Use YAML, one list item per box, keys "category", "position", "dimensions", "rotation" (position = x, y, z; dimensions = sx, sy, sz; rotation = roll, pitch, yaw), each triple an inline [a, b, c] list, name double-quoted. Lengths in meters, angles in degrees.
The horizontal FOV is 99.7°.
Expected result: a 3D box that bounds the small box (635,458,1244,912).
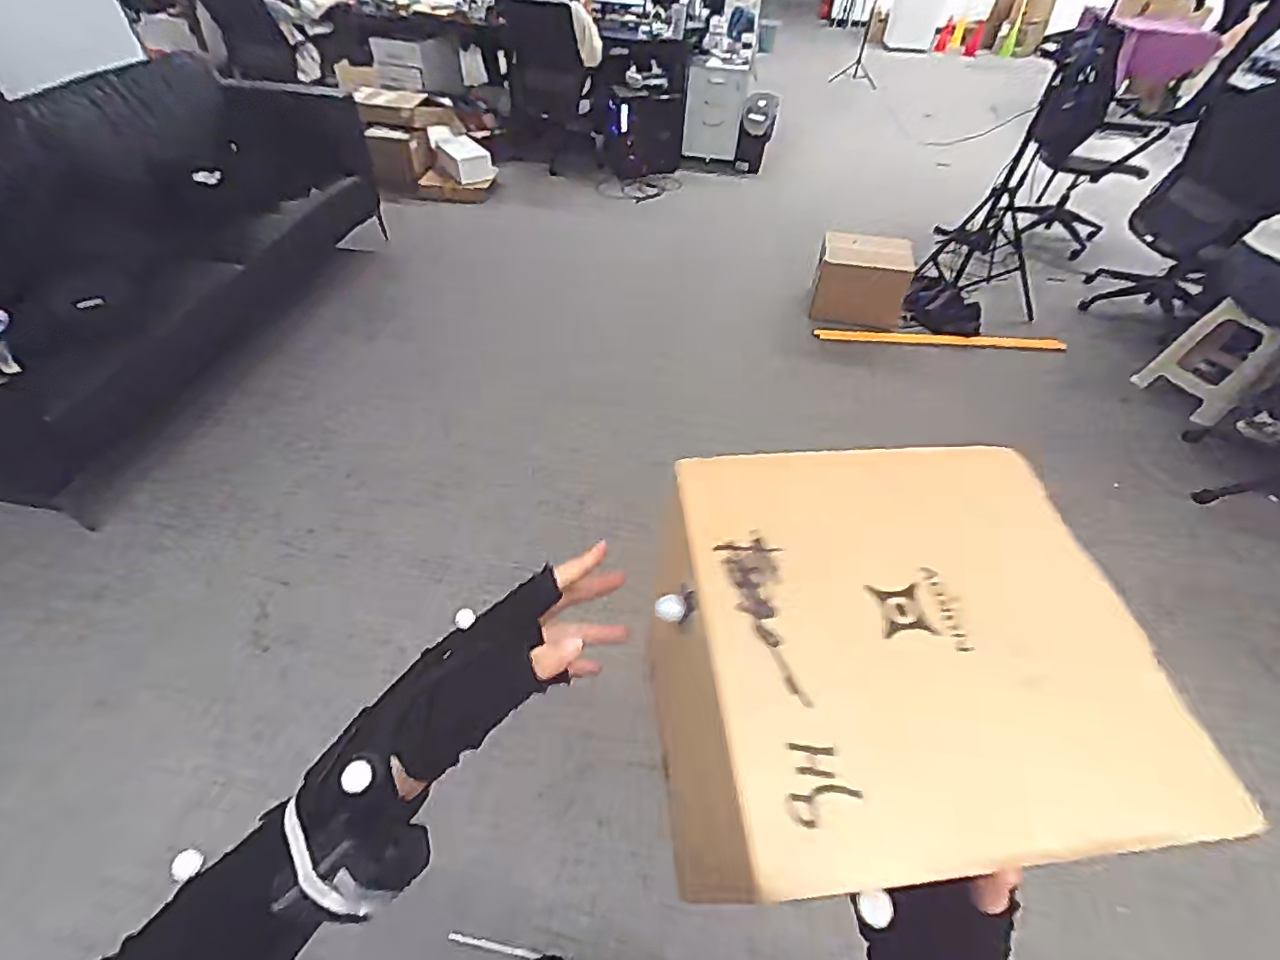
- category: "small box"
  position: [0.098, 0.105, 0.275]
  dimensions: [0.179, 0.176, 0.168]
  rotation: [-1, 51, -8]
